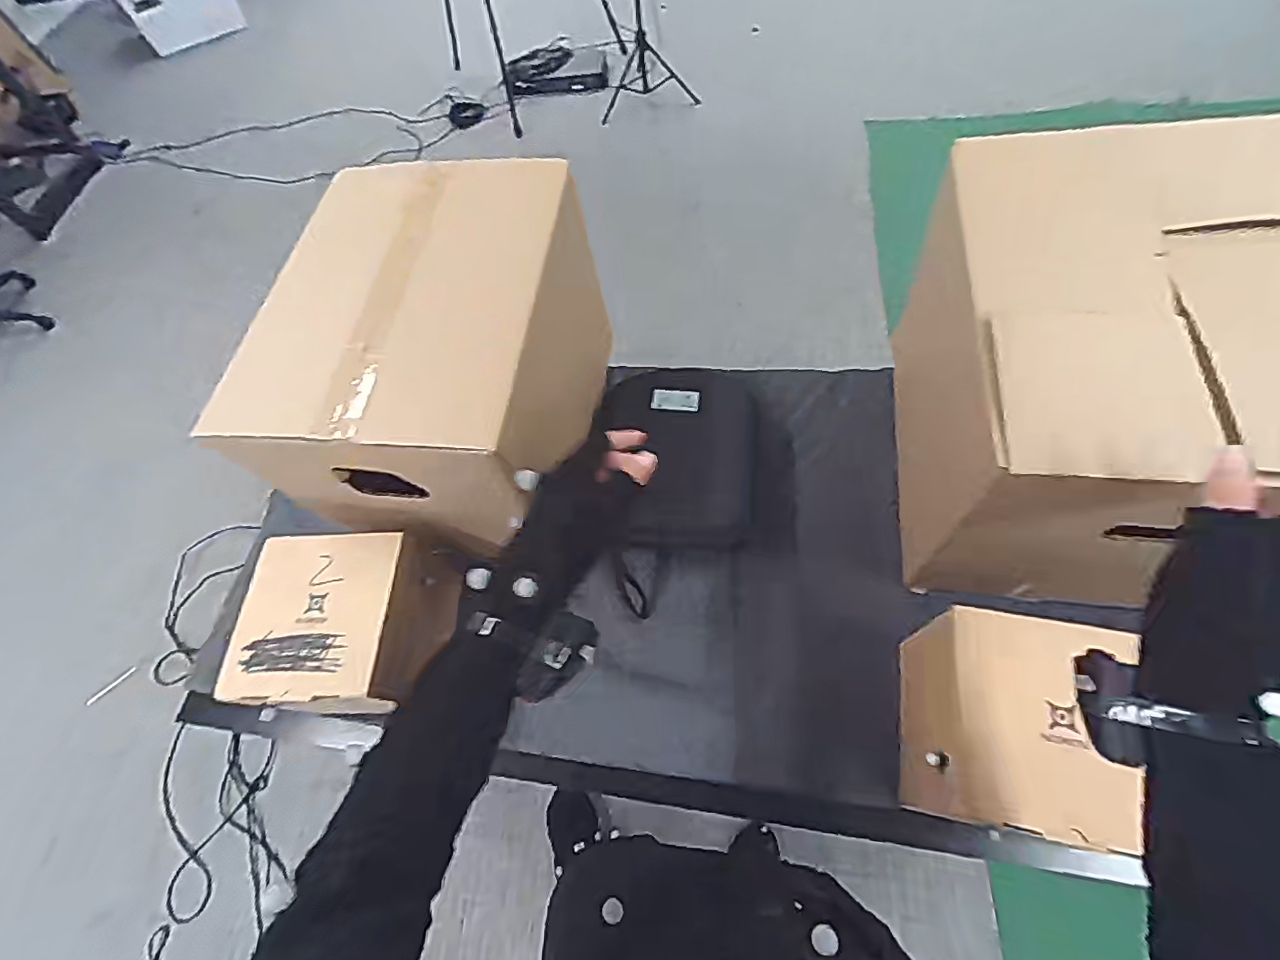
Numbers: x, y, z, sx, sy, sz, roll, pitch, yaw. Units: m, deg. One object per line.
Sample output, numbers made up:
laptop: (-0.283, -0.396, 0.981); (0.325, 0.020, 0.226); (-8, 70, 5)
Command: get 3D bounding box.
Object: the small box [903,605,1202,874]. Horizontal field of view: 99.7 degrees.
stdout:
small box: (0.364, 0.239, 0.521); (0.168, 0.176, 0.179); (8, 65, 12)
